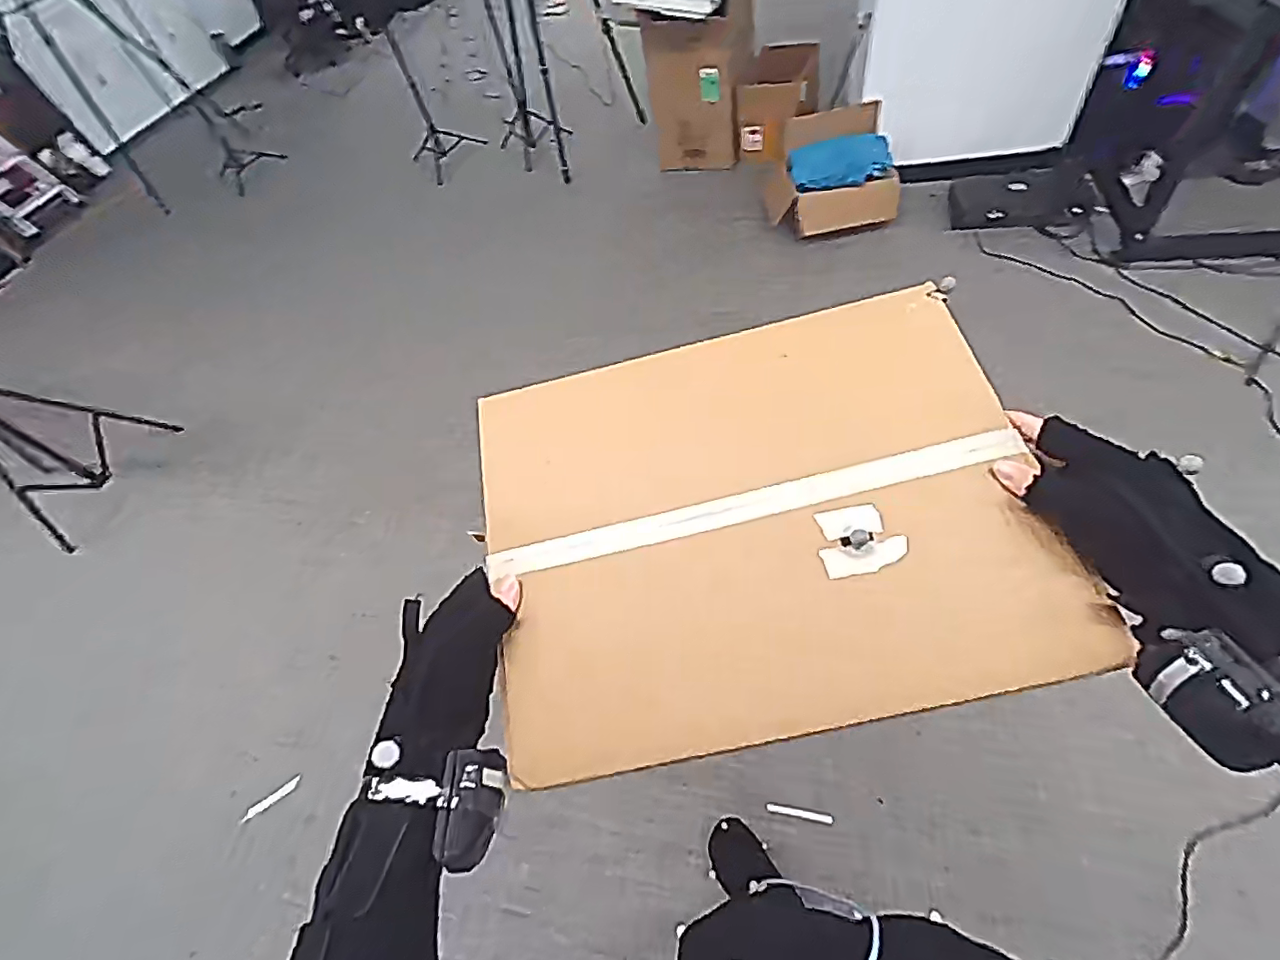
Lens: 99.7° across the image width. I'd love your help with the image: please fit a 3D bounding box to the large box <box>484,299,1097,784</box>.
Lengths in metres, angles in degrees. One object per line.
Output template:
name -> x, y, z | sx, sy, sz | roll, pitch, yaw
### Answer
large box -> 0.100, 0.083, 0.558 | 0.408, 0.320, 0.320 | -14, 66, 3
